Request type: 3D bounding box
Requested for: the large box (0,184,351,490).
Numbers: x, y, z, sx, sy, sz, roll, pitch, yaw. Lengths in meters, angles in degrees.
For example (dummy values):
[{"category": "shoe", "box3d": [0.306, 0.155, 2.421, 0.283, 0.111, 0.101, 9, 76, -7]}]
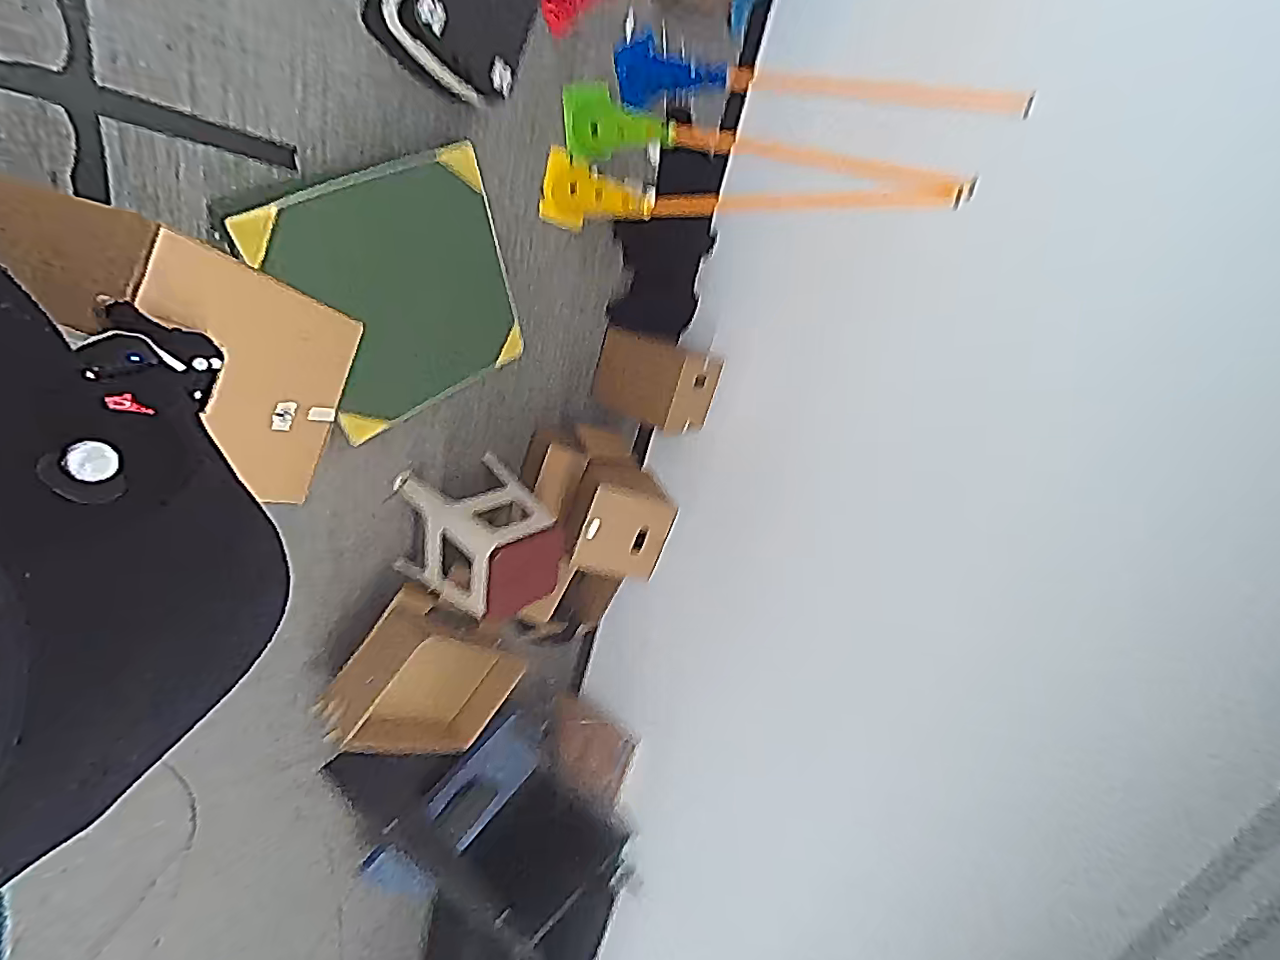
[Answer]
[{"category": "large box", "box3d": [-0.724, -0.187, 0.789, 0.320, 0.408, 0.320, 17, 91, -75]}]
